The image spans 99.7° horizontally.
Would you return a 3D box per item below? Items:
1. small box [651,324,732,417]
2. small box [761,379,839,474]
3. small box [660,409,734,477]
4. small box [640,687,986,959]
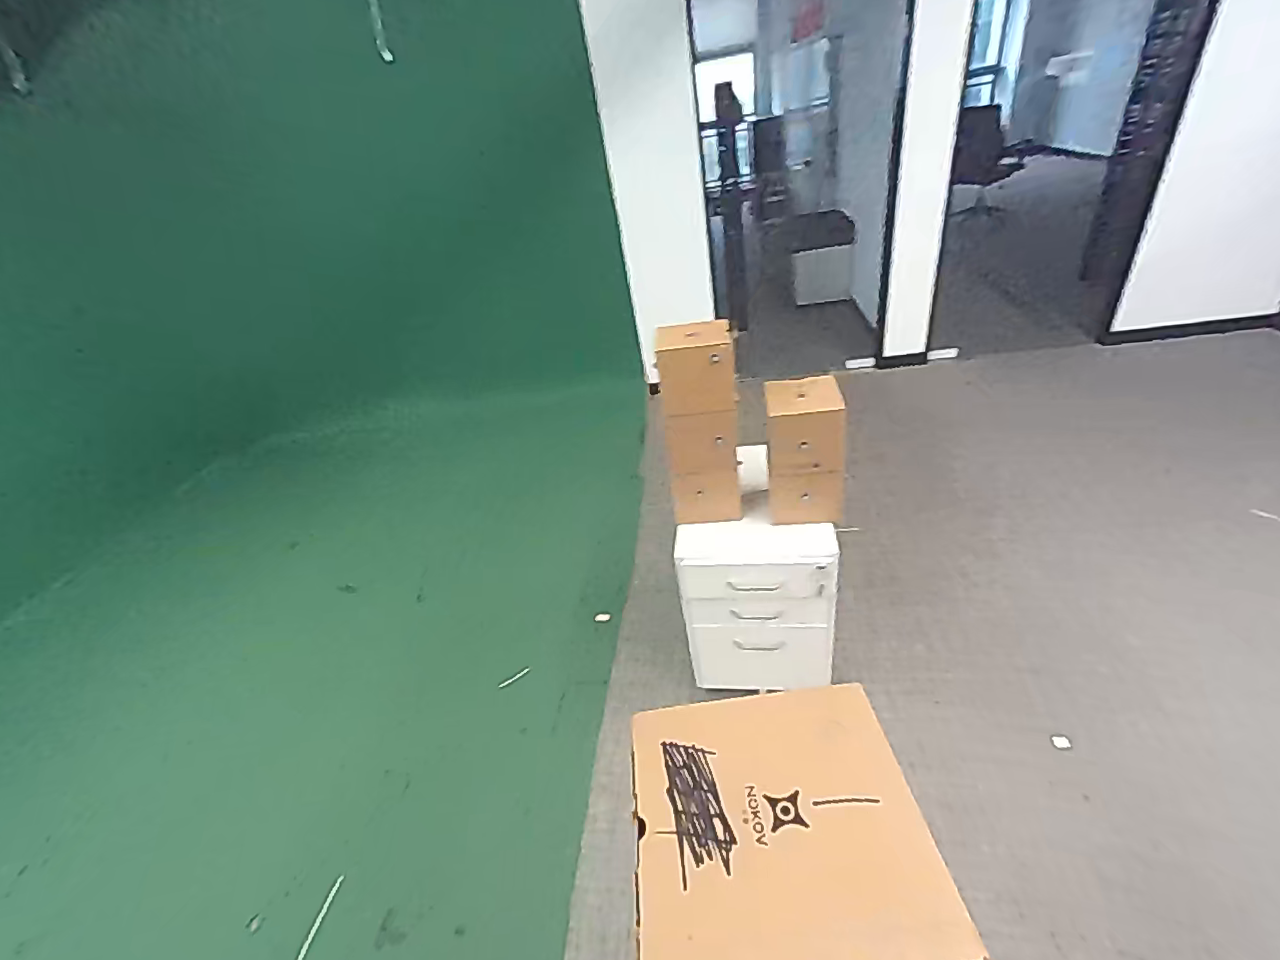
[{"bbox_3d":[0.124,-0.260,1.297,0.179,0.176,0.168,-5,34,6],"label":"small box"},{"bbox_3d":[0.386,-0.124,1.312,0.168,0.176,0.179,-4,35,12],"label":"small box"},{"bbox_3d":[0.147,-0.124,1.384,0.179,0.176,0.168,-6,33,6],"label":"small box"},{"bbox_3d":[0.099,0.276,0.380,0.179,0.176,0.168,-8,31,3],"label":"small box"}]
